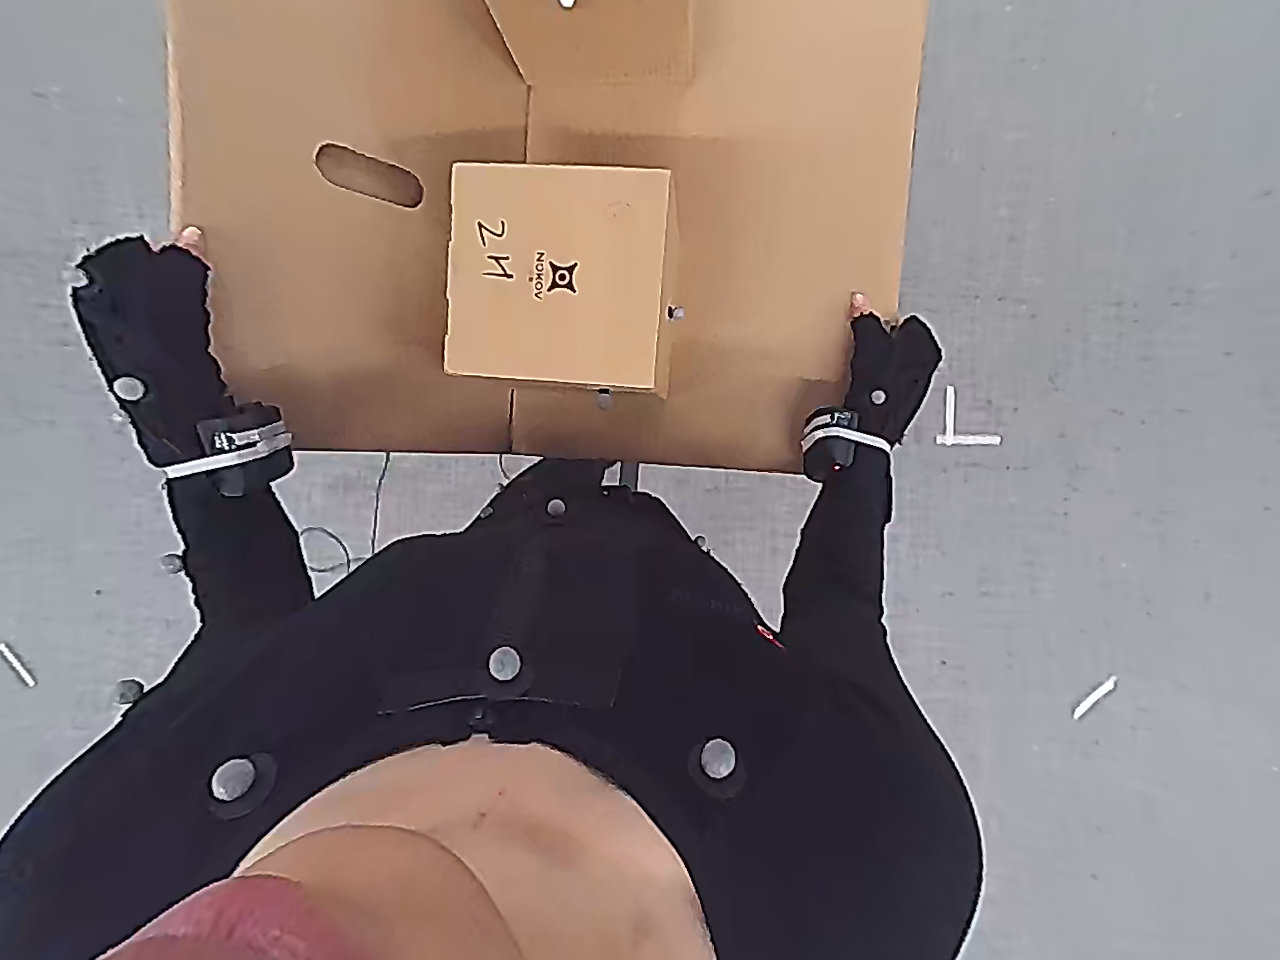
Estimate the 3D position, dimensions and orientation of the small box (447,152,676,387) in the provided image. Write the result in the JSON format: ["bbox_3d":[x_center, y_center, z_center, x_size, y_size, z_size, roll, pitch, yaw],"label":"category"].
[{"bbox_3d":[-0.060,-0.181,0.514,0.179,0.176,0.168,6,96,6],"label":"small box"}]
